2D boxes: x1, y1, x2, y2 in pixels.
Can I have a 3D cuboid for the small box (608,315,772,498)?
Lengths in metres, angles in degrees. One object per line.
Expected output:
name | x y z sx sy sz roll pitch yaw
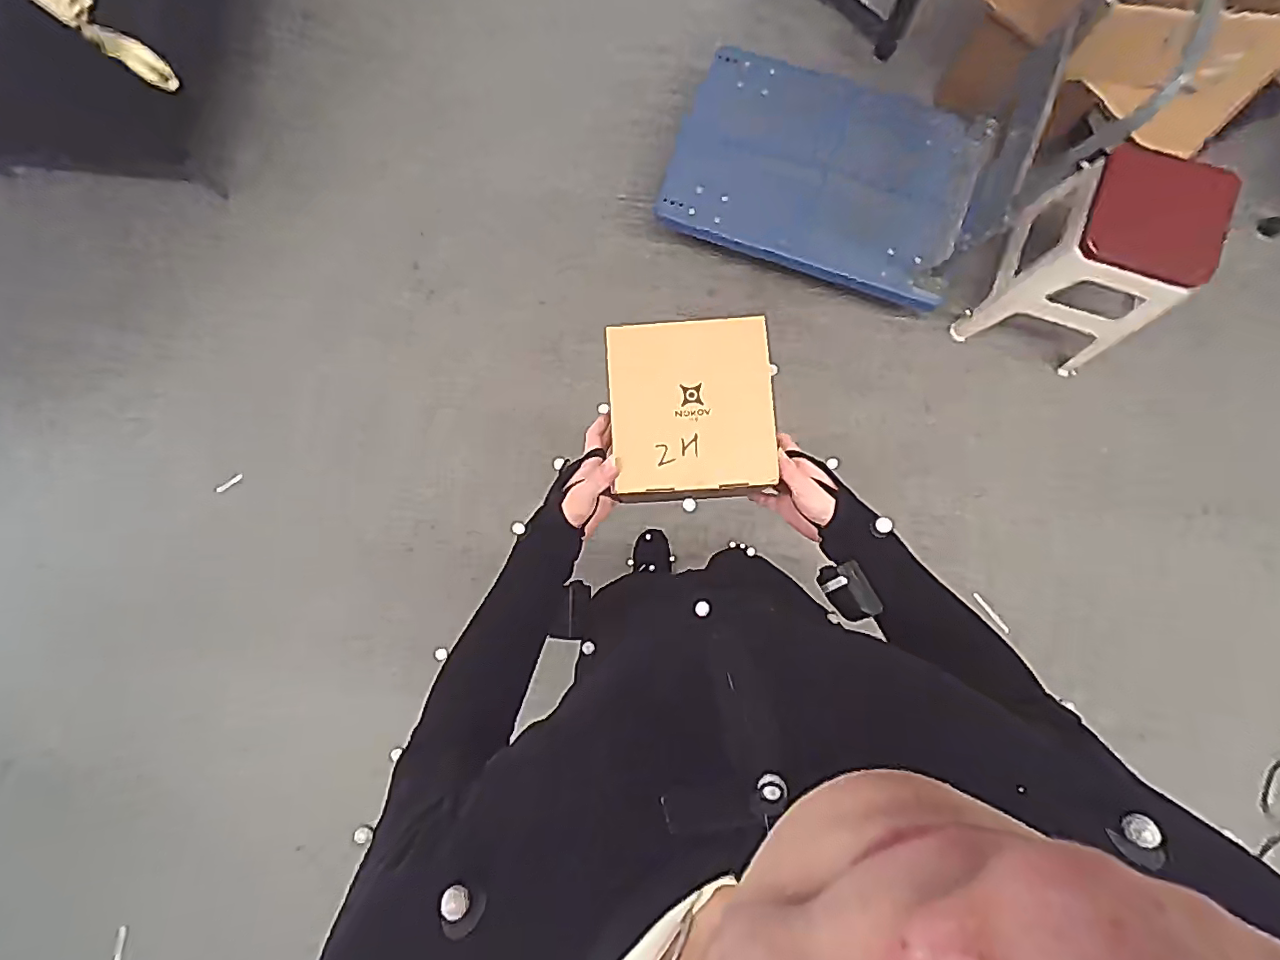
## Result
small box | 0.051 -0.075 0.634 0.168 0.176 0.179 -3 85 1
